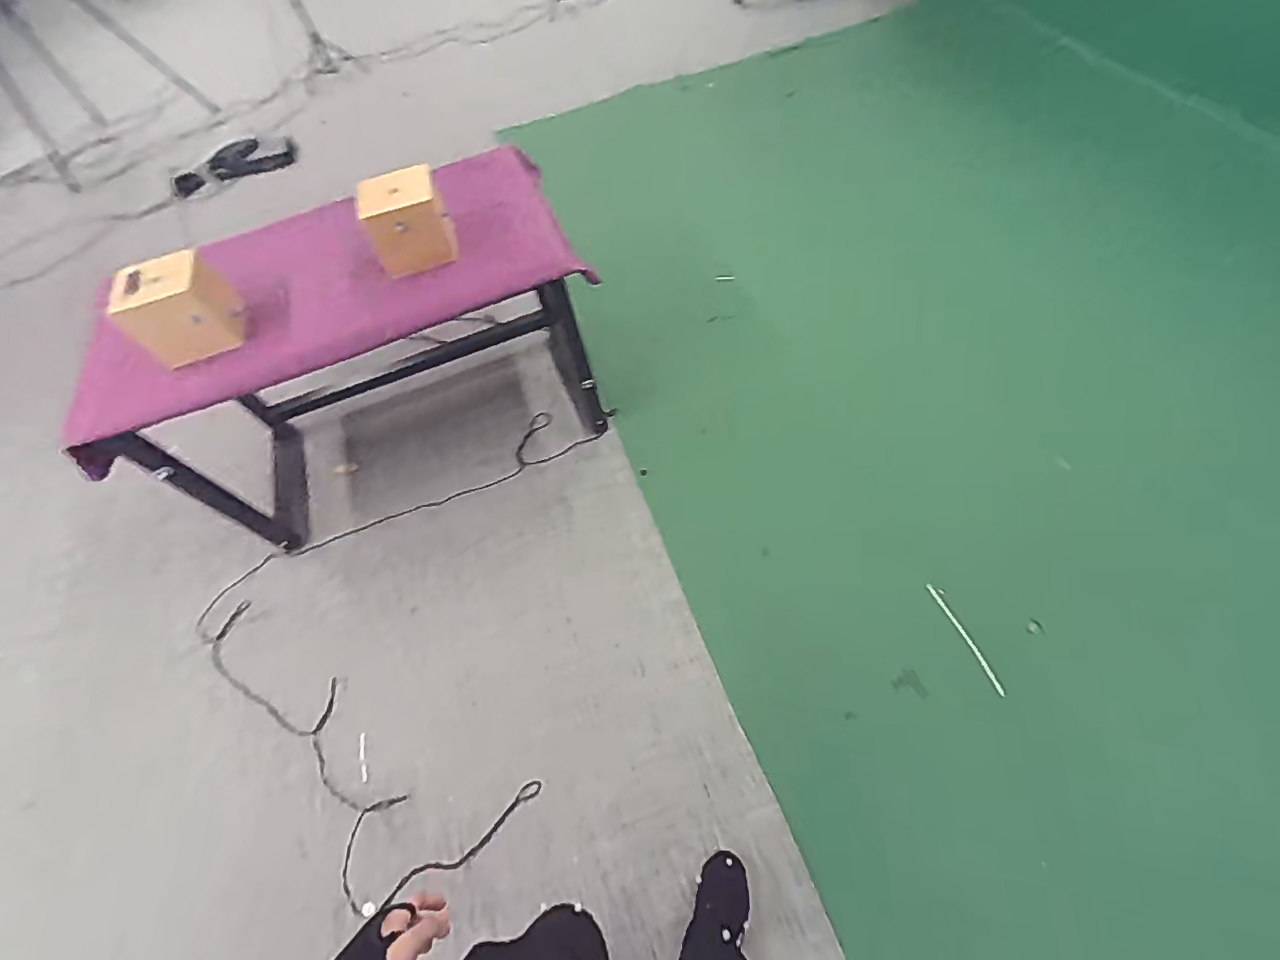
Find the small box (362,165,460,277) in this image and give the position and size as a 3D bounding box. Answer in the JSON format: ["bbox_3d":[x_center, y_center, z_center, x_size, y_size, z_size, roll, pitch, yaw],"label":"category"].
[{"bbox_3d":[-0.562,-0.638,1.343,0.179,0.176,0.168,-17,59,-3],"label":"small box"}]
